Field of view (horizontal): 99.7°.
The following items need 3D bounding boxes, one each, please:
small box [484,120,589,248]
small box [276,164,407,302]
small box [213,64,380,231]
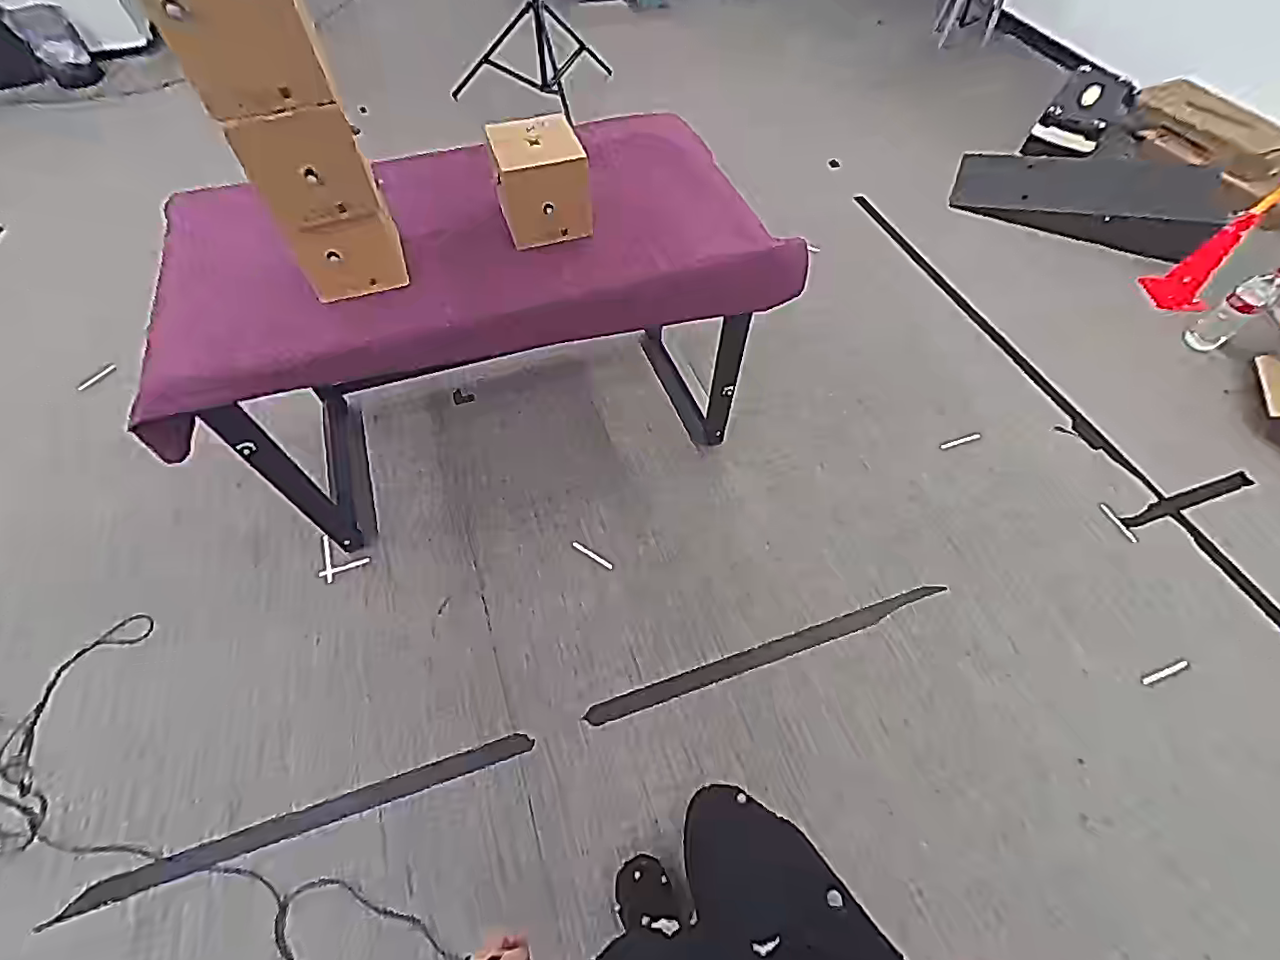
[{"bbox_3d":[-0.208,-0.603,1.118,0.168,0.176,0.179,-17,60,-11],"label":"small box"},{"bbox_3d":[-0.560,-0.460,1.028,0.168,0.176,0.179,-17,60,-11],"label":"small box"},{"bbox_3d":[-0.547,-0.530,0.878,0.168,0.176,0.179,-21,61,-14],"label":"small box"}]
